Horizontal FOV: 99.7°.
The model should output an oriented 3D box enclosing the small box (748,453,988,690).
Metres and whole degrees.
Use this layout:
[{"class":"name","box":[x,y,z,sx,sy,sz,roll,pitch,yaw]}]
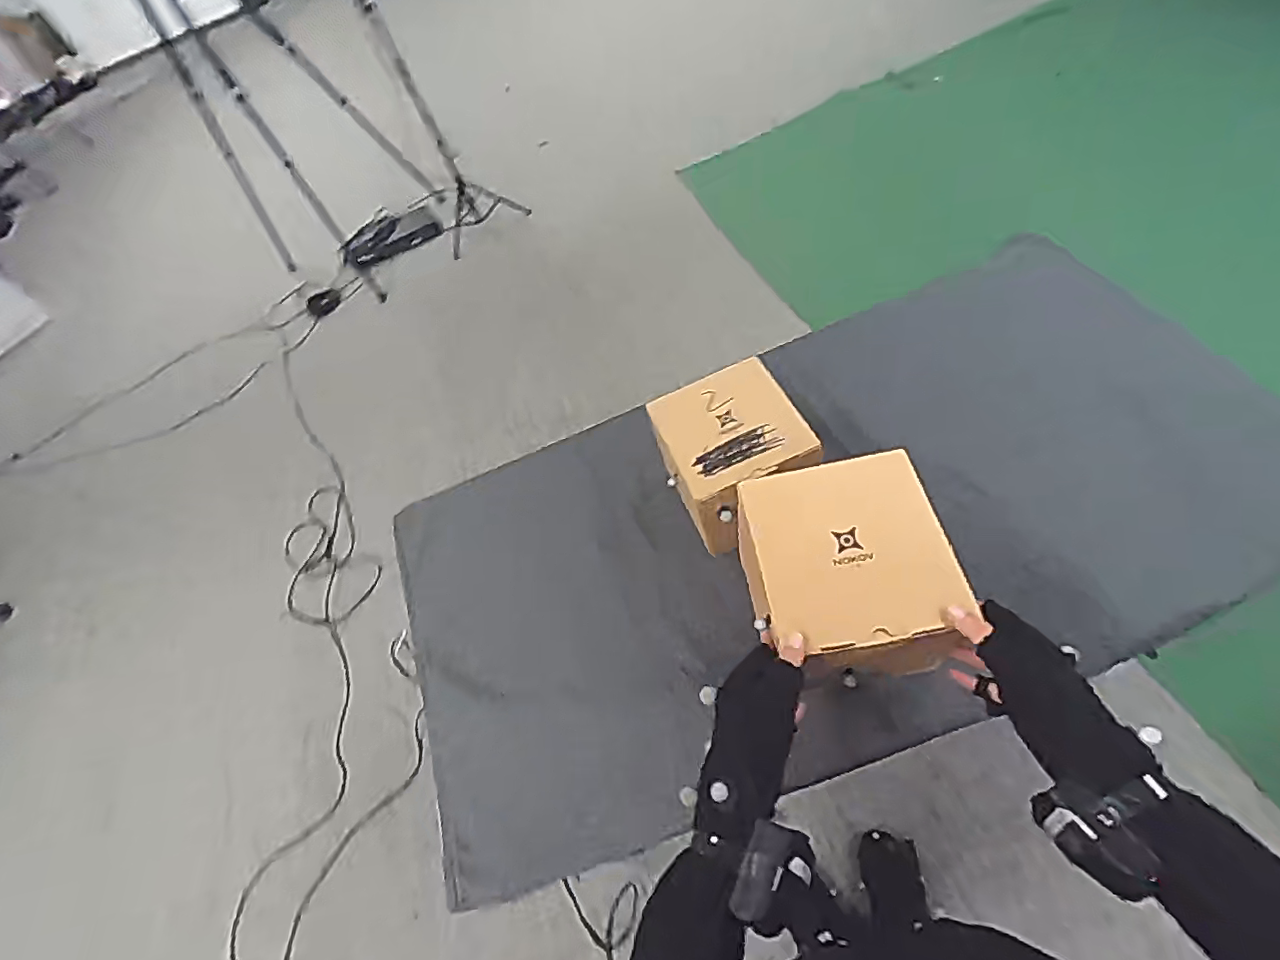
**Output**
[{"class":"small box","box":[0.208,0.101,0.558,0.168,0.176,0.179,-12,58,5]}]
